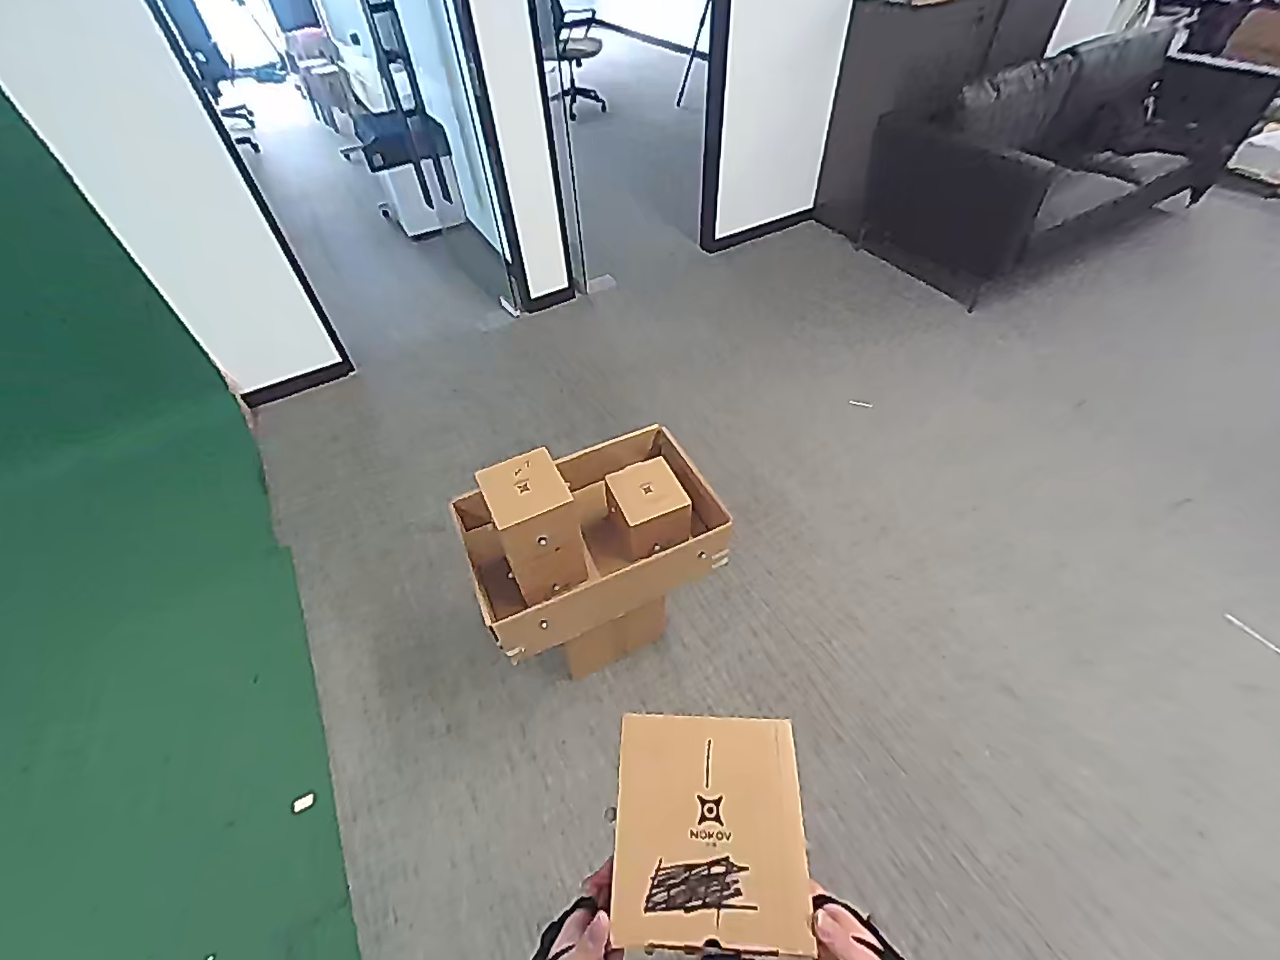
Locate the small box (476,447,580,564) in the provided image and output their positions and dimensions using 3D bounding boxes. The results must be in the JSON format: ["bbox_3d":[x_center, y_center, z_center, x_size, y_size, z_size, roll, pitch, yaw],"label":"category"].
[{"bbox_3d":[-0.244,0.063,1.200,0.168,0.176,0.179,-22,53,-16],"label":"small box"}]

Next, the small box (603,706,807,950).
[{"bbox_3d":[0.059,0.342,0.542,0.168,0.176,0.179,2,53,3],"label":"small box"}]
